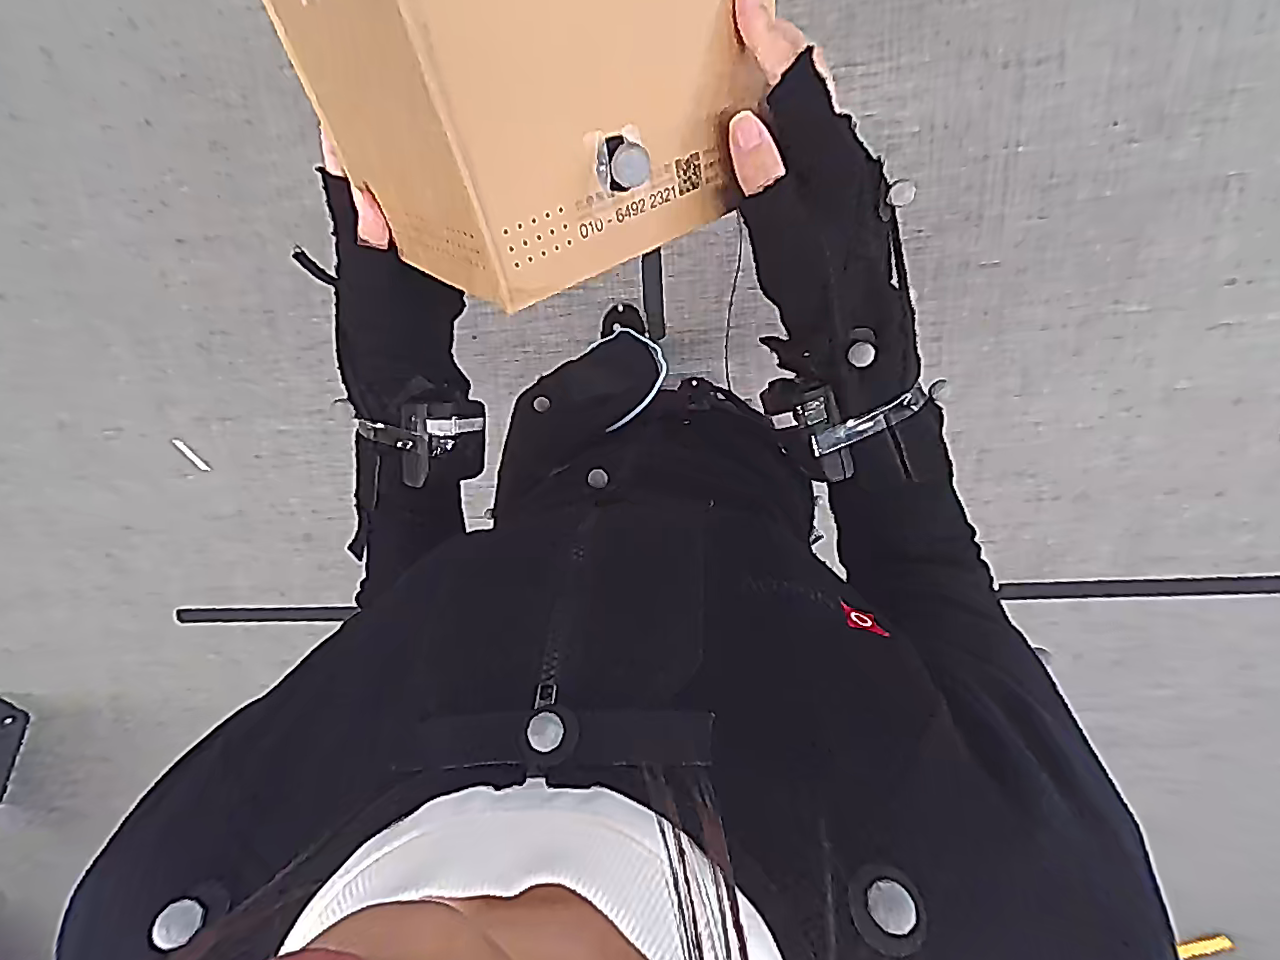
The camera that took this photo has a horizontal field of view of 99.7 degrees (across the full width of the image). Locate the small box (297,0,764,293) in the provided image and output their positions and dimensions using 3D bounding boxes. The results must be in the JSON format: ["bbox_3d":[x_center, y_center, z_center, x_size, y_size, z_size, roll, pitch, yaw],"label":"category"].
[{"bbox_3d":[-0.056,-0.214,0.276,0.168,0.179,0.176,-34,134,-22],"label":"small box"}]
